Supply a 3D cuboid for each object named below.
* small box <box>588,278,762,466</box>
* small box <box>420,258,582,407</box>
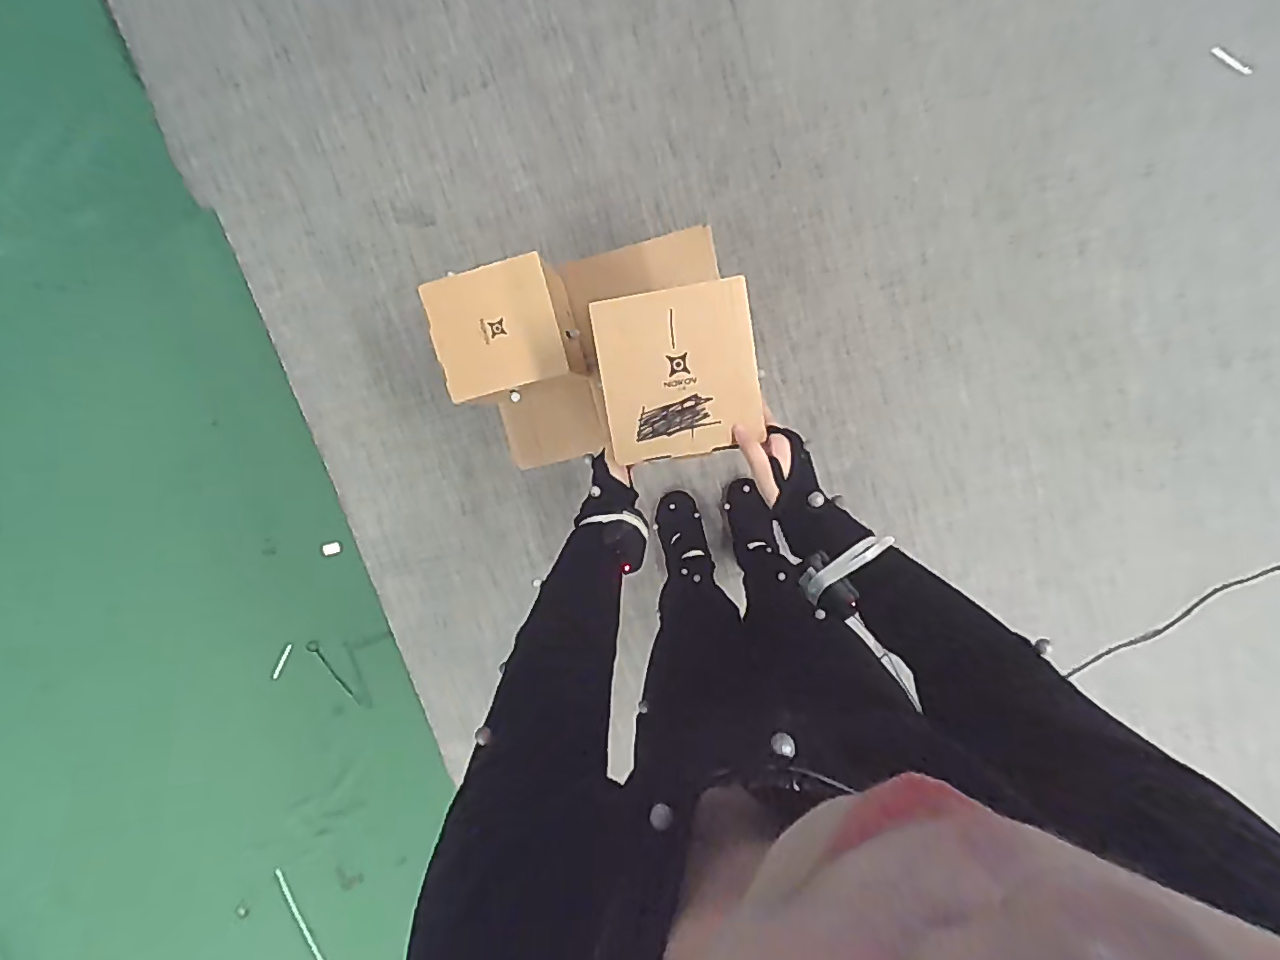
[{"bbox_3d":[0.044,-0.120,0.647,0.168,0.176,0.179,-9,95,4],"label":"small box"},{"bbox_3d":[-0.193,-0.211,0.816,0.179,0.176,0.168,-14,96,6],"label":"small box"}]
